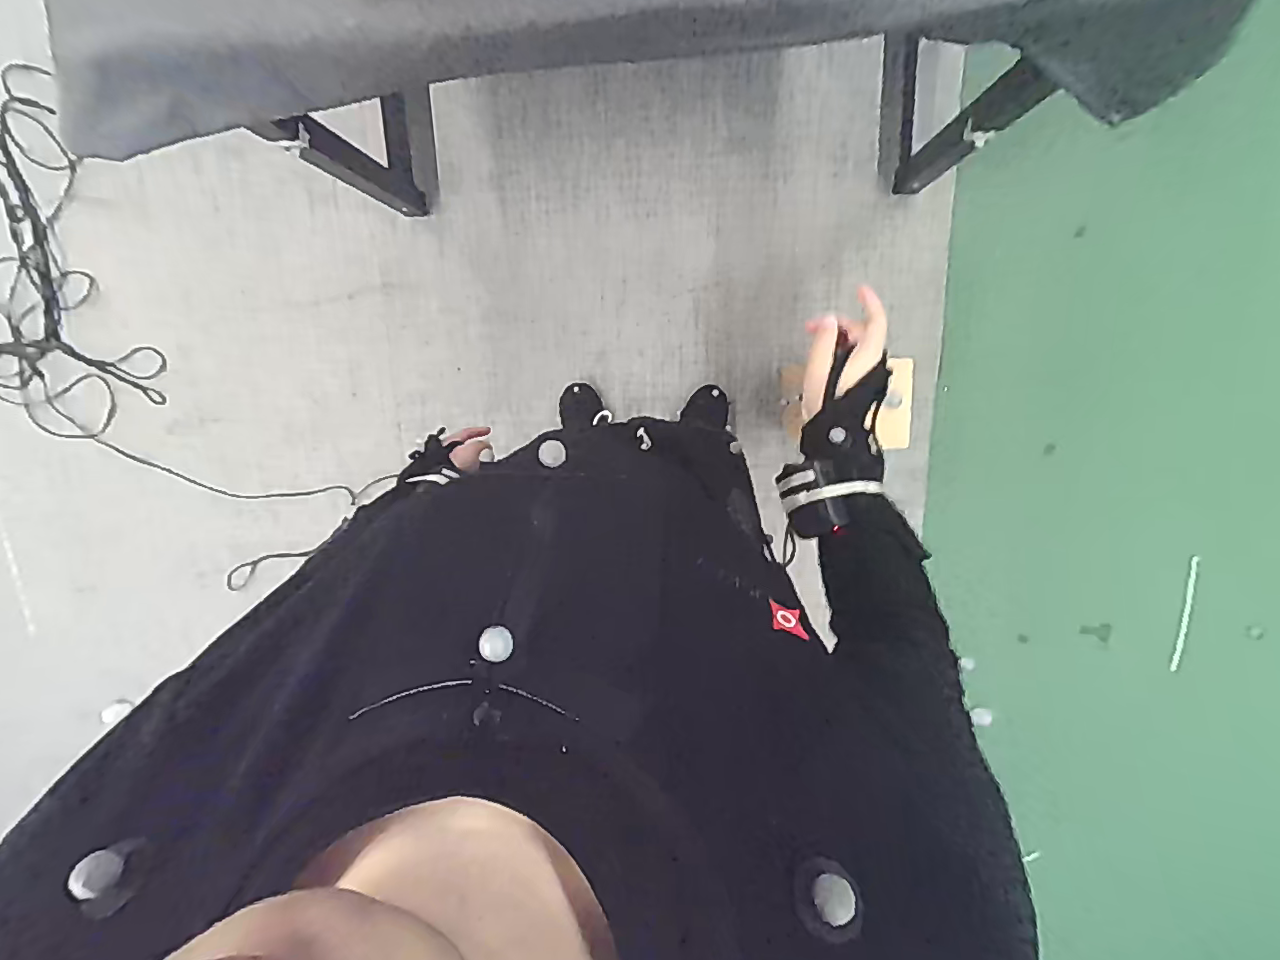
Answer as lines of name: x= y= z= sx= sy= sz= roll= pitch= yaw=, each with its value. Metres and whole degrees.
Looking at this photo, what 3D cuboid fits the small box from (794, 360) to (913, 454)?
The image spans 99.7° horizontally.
small box: x=0.411 y=-0.148 z=1.065 sx=0.179 sy=0.176 sz=0.168 roll=-3 pitch=102 yaw=4
